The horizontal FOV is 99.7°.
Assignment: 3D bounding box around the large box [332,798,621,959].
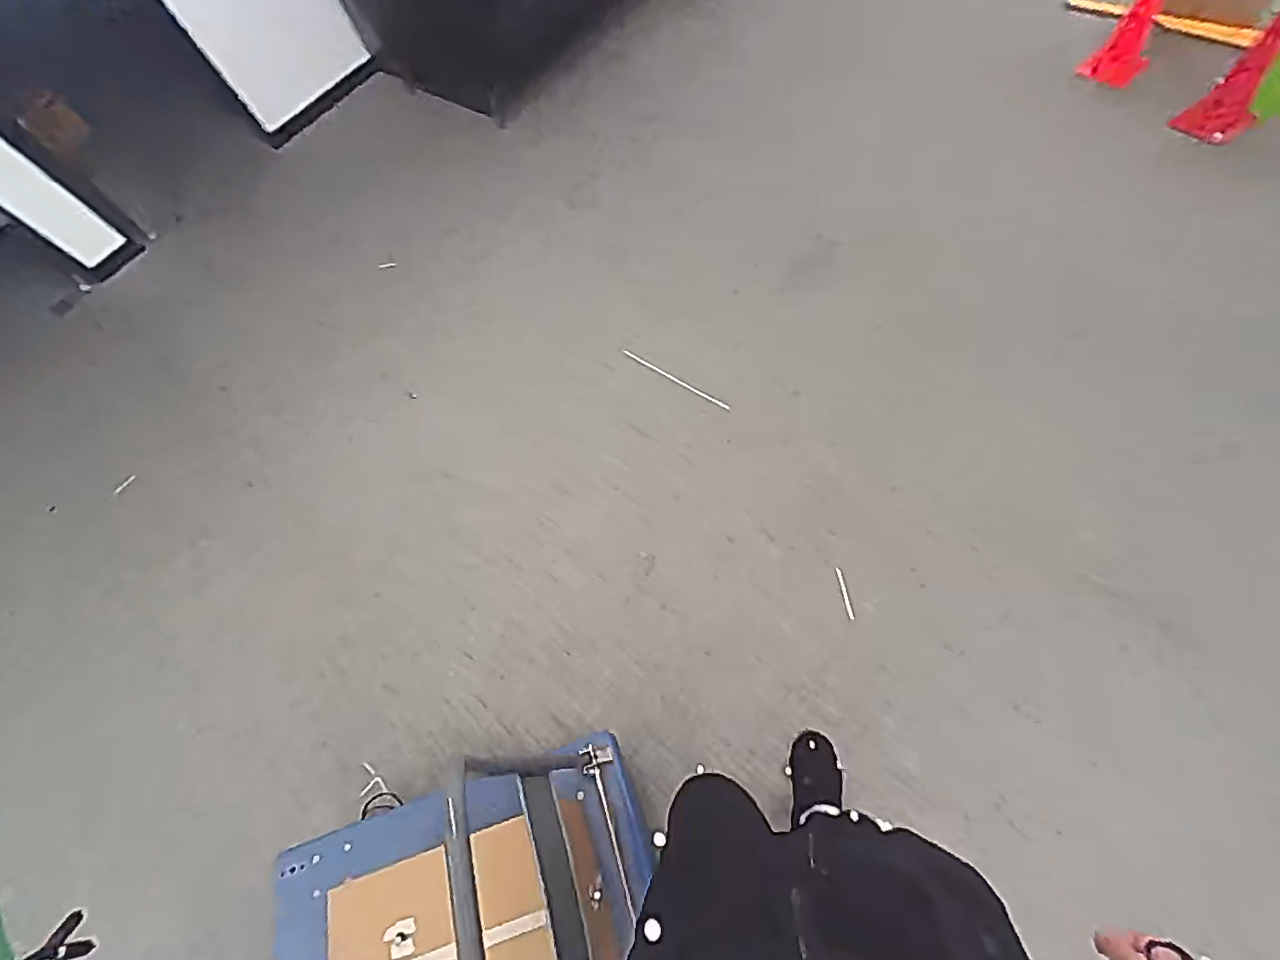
[{"bbox_3d":[-0.296,0.860,1.035,0.408,0.320,0.320,-22,61,2],"label":"large box"}]
